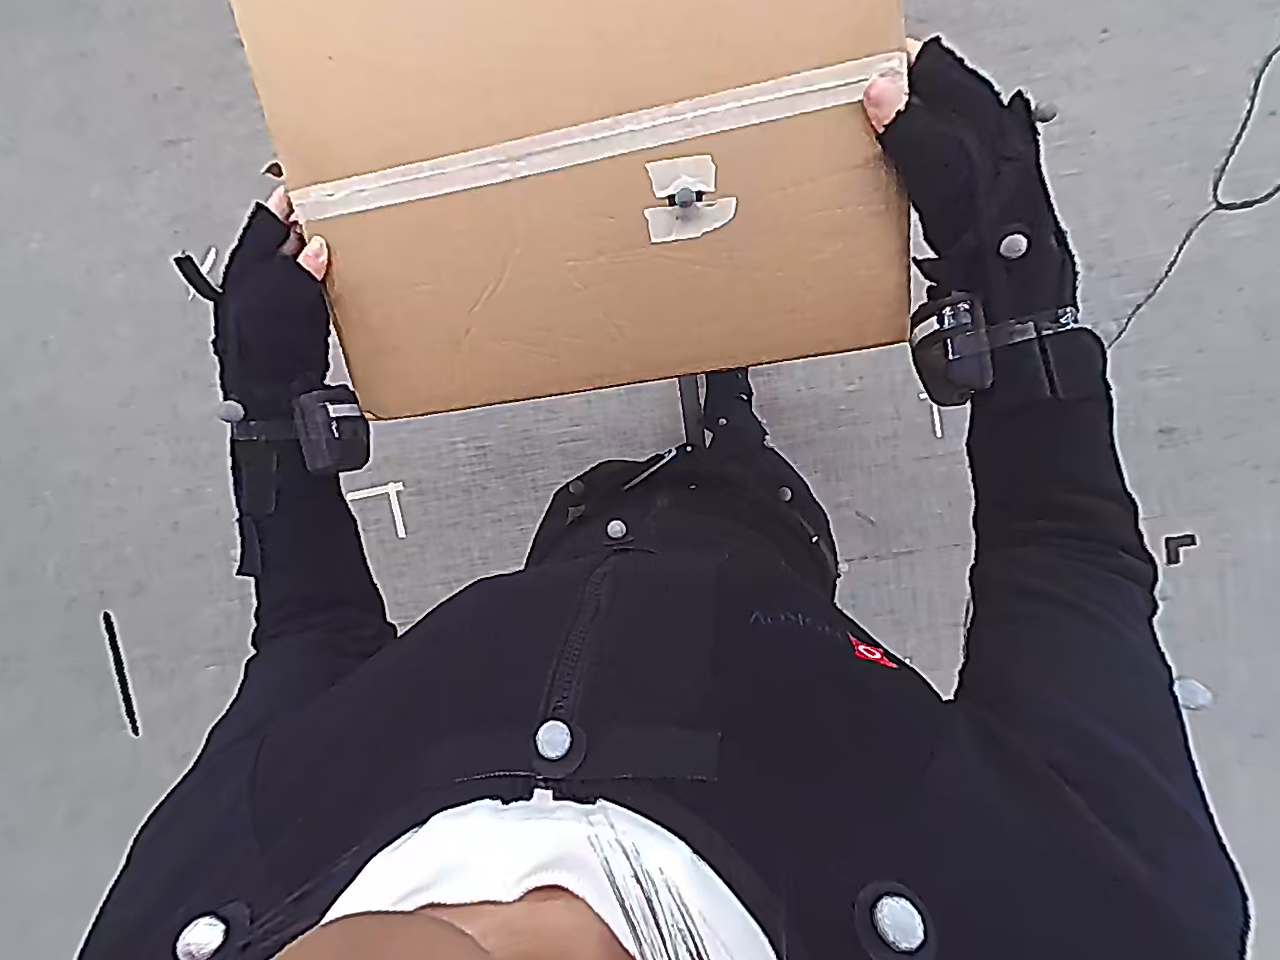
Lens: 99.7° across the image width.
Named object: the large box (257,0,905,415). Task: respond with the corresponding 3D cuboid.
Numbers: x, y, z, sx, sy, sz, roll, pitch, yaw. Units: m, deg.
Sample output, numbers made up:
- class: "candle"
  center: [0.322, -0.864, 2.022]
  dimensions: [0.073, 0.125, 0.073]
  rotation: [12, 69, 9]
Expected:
- class: "large box"
  center: [-0.024, -0.268, 0.505]
  dimensions: [0.408, 0.320, 0.320]
  rotation: [-8, 108, 8]
